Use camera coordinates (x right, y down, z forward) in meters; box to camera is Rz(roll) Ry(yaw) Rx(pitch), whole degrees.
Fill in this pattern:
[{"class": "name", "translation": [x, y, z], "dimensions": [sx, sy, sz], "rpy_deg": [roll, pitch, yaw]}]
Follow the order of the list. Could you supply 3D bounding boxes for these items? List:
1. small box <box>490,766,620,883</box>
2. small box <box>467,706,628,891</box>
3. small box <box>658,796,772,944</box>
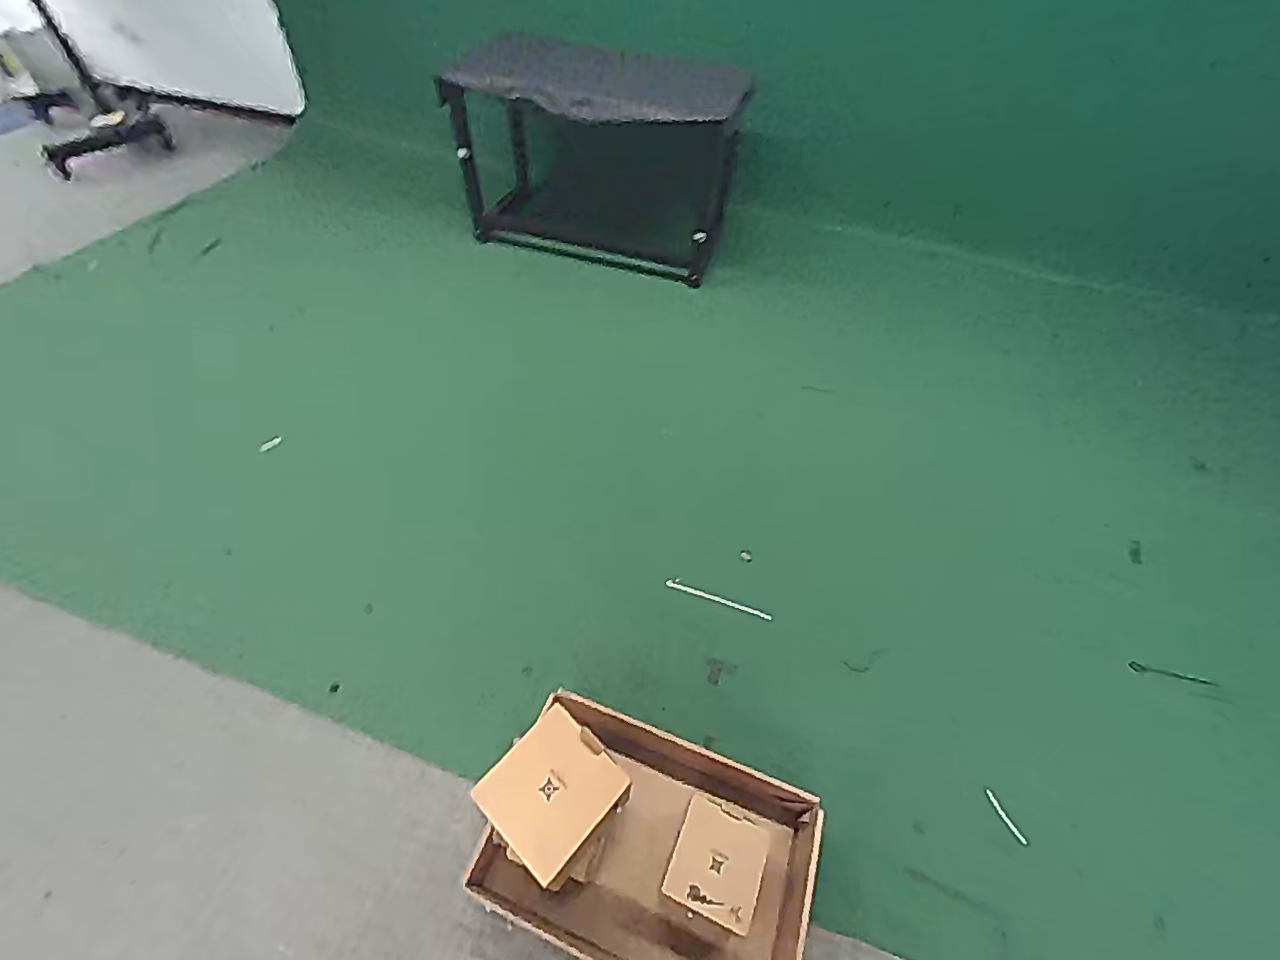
[{"class": "small box", "translation": [-0.141, 0.592, 0.970], "dimensions": [0.168, 0.176, 0.179], "rpy_deg": [18, 52, 10]}, {"class": "small box", "translation": [-0.133, 0.497, 0.838], "dimensions": [0.168, 0.176, 0.179], "rpy_deg": [36, 57, 23]}, {"class": "small box", "translation": [0.141, 0.762, 1.062], "dimensions": [0.168, 0.176, 0.179], "rpy_deg": [21, 53, 14]}]
